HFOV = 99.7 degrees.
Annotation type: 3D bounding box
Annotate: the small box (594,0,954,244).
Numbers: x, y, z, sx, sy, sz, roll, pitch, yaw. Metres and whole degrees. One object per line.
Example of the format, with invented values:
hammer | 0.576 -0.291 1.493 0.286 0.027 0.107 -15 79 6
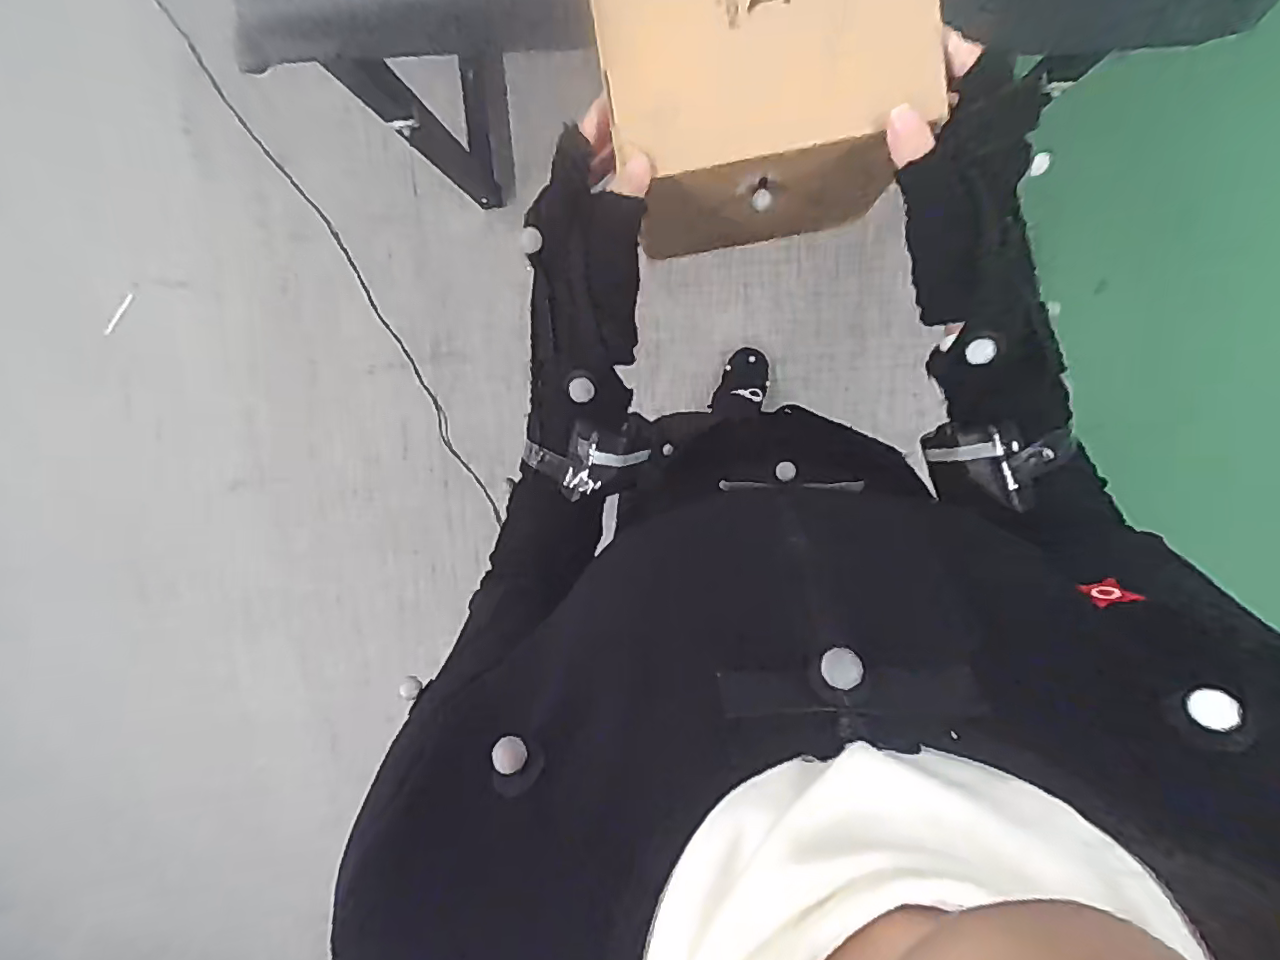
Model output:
small box | 0.070 -0.271 0.352 0.179 0.176 0.168 -9 99 7
